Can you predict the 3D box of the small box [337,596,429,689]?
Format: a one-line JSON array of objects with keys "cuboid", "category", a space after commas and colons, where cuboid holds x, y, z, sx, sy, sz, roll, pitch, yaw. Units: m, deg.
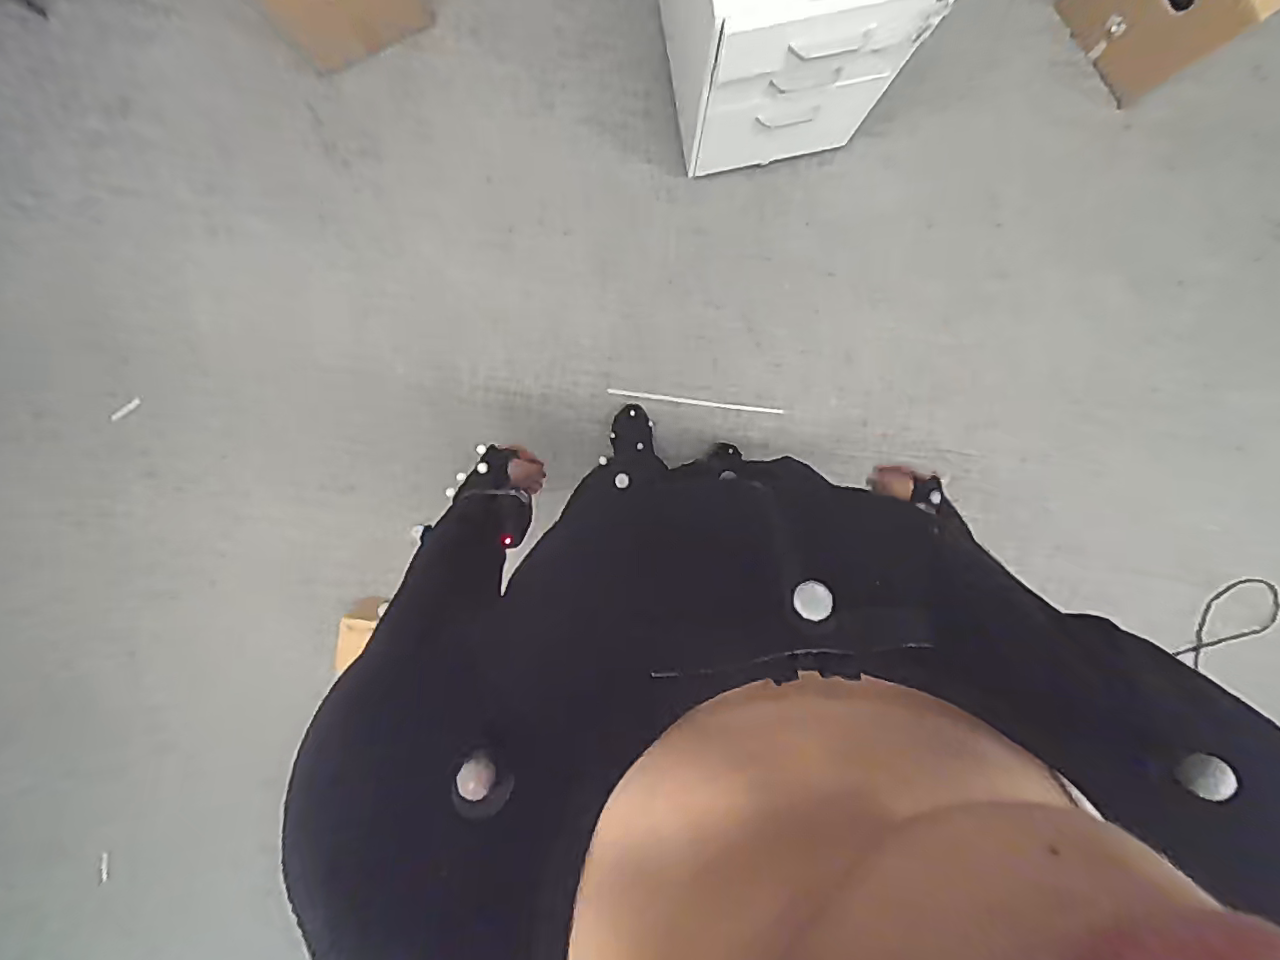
[{"cuboid": [-0.691, 0.435, 1.466, 0.168, 0.176, 0.179, 8, 97, 0], "category": "small box"}]
